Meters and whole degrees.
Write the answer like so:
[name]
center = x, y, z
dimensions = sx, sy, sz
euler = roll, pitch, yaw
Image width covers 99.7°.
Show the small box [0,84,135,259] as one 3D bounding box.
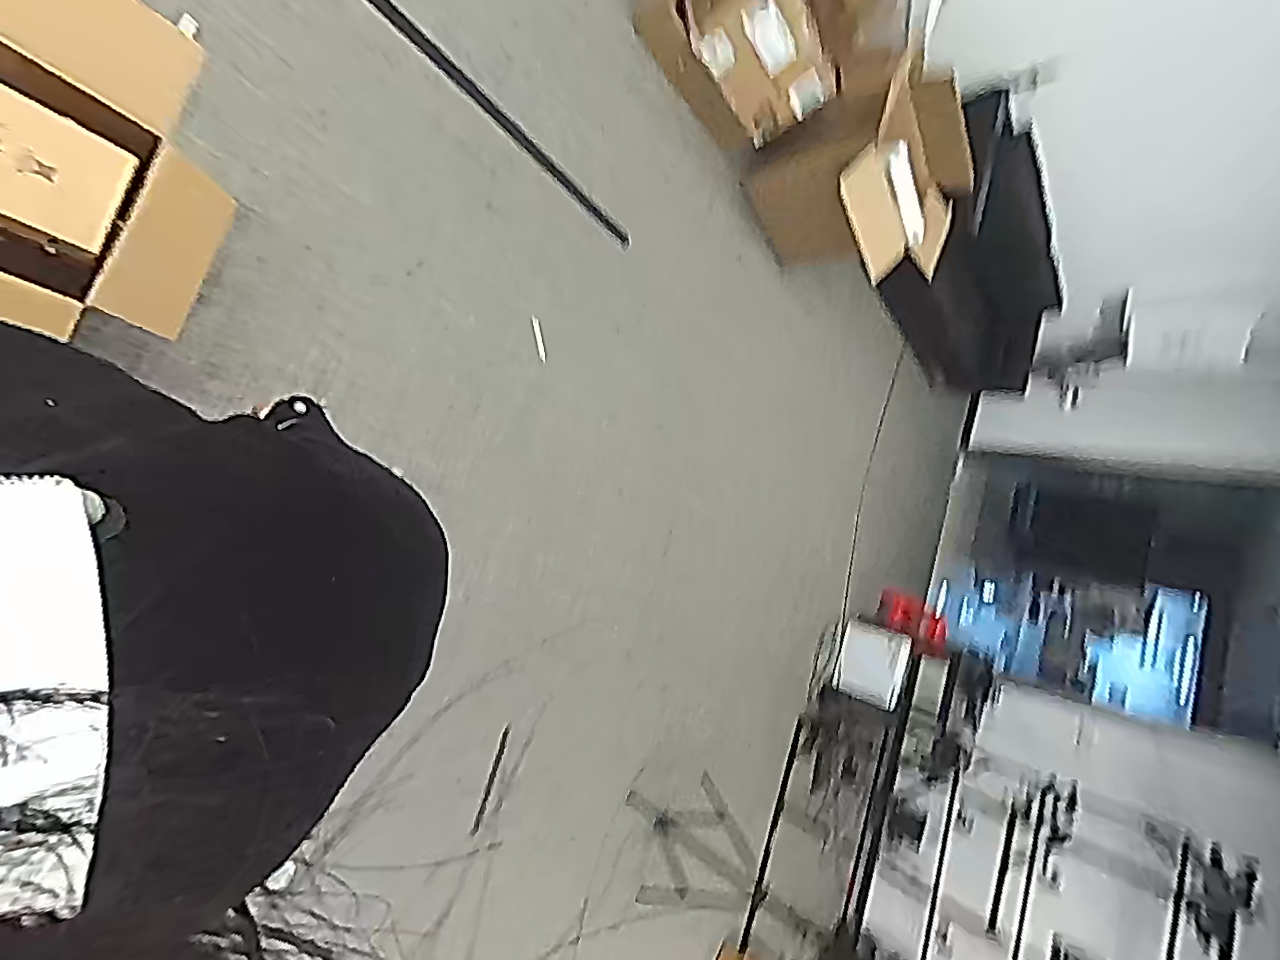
[small box]
center = -0.914, -0.454, 0.814
dimensions = 0.179, 0.176, 0.168
euler = 24, 80, -47
